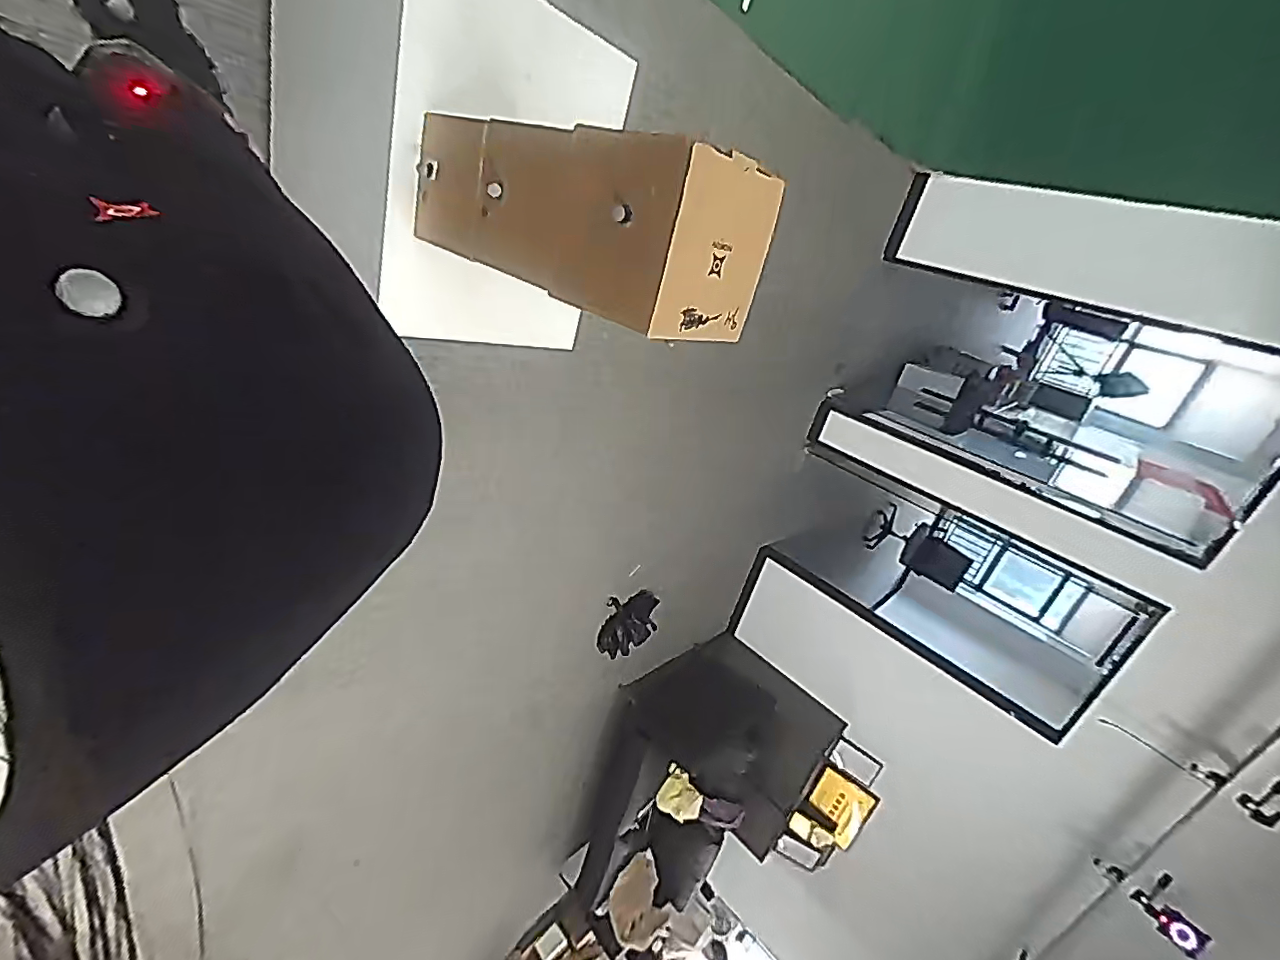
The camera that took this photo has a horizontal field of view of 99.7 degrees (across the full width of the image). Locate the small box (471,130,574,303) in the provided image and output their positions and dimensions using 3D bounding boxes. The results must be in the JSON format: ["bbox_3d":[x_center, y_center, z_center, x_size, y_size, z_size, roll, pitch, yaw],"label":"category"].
[{"bbox_3d":[-0.087,-0.326,0.688,0.179,0.176,0.168,-16,128,-46],"label":"small box"}]

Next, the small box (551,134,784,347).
[{"bbox_3d":[0.022,-0.255,0.588,0.168,0.176,0.179,-13,125,-45],"label":"small box"}]

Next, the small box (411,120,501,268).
[{"bbox_3d":[-0.203,-0.399,0.778,0.179,0.176,0.168,-11,125,-45],"label":"small box"}]
